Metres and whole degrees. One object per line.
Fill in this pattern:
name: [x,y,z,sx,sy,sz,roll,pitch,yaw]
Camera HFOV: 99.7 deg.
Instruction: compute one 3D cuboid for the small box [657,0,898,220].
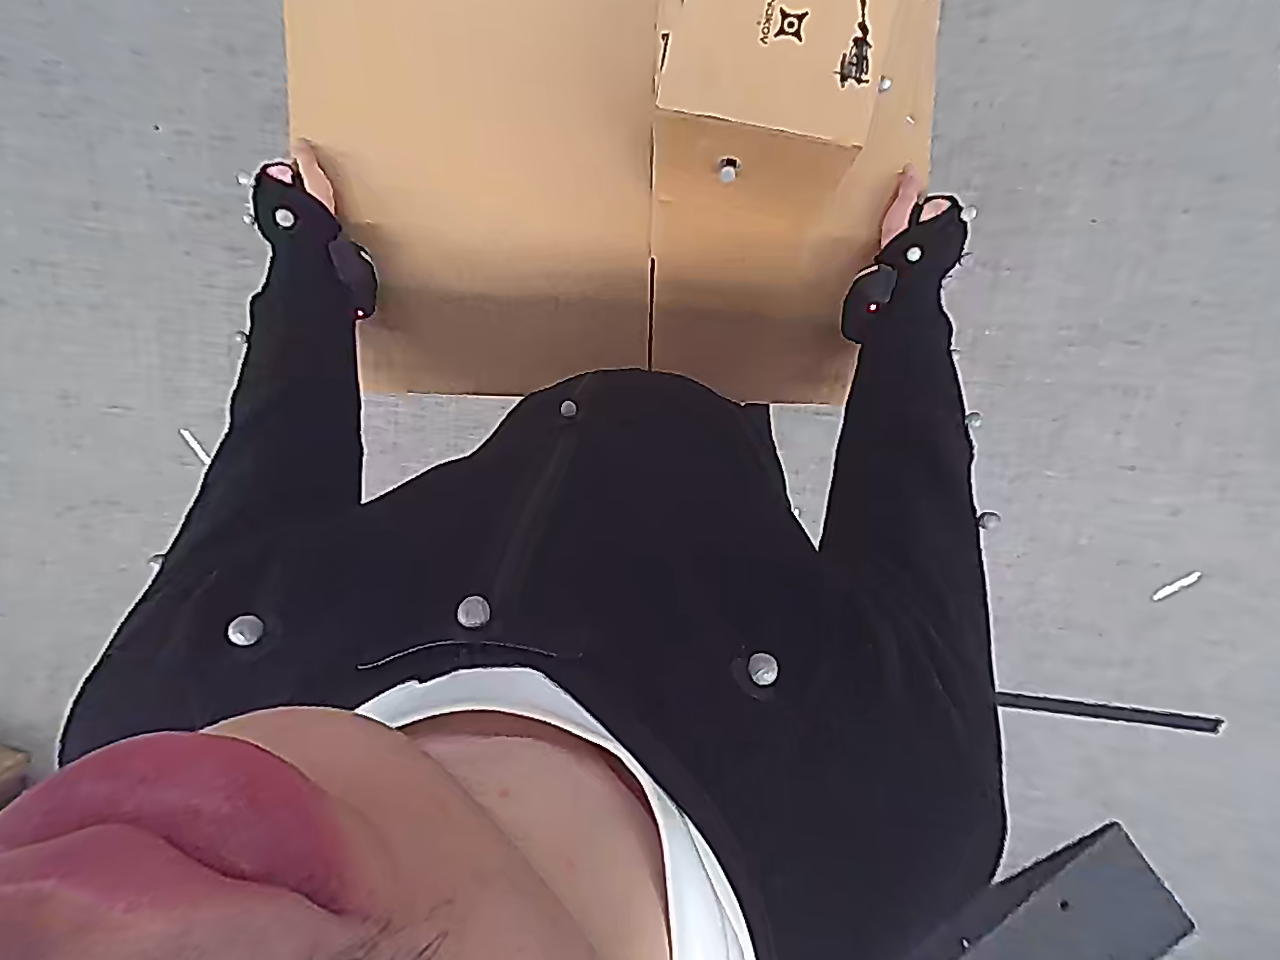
small box: [0.121,-0.374,0.519,0.179,0.176,0.168,12,95,3]
